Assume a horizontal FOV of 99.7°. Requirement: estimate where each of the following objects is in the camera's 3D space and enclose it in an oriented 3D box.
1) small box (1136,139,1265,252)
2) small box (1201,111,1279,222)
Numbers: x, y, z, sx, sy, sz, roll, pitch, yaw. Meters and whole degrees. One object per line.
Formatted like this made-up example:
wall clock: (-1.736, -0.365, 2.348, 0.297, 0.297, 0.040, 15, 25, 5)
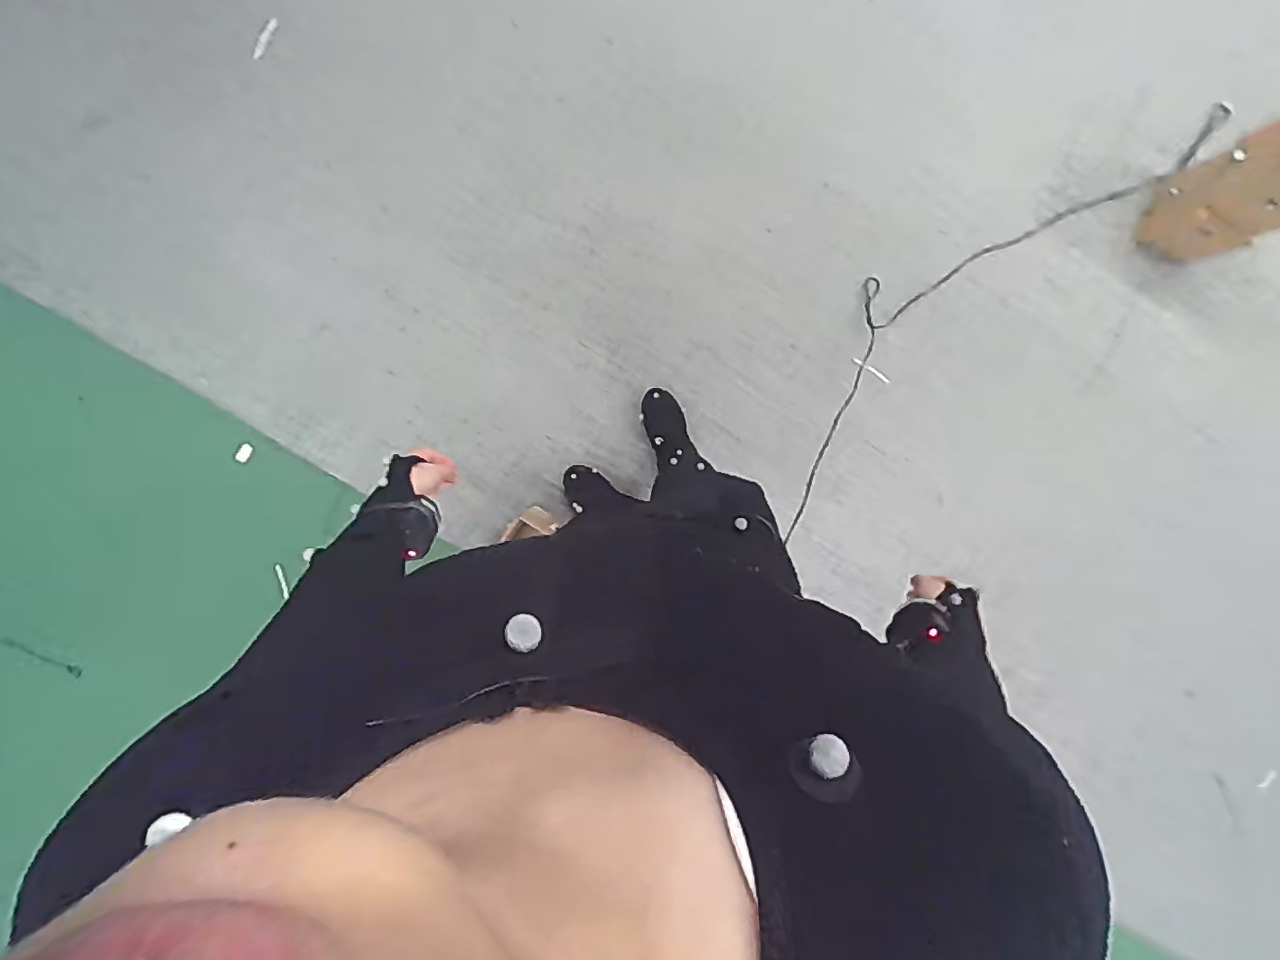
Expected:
small box: (1.406, -0.693, 1.341, 0.179, 0.176, 0.168, 23, 96, -4)
small box: (1.413, -0.693, 1.176, 0.179, 0.176, 0.168, 27, 94, -3)
